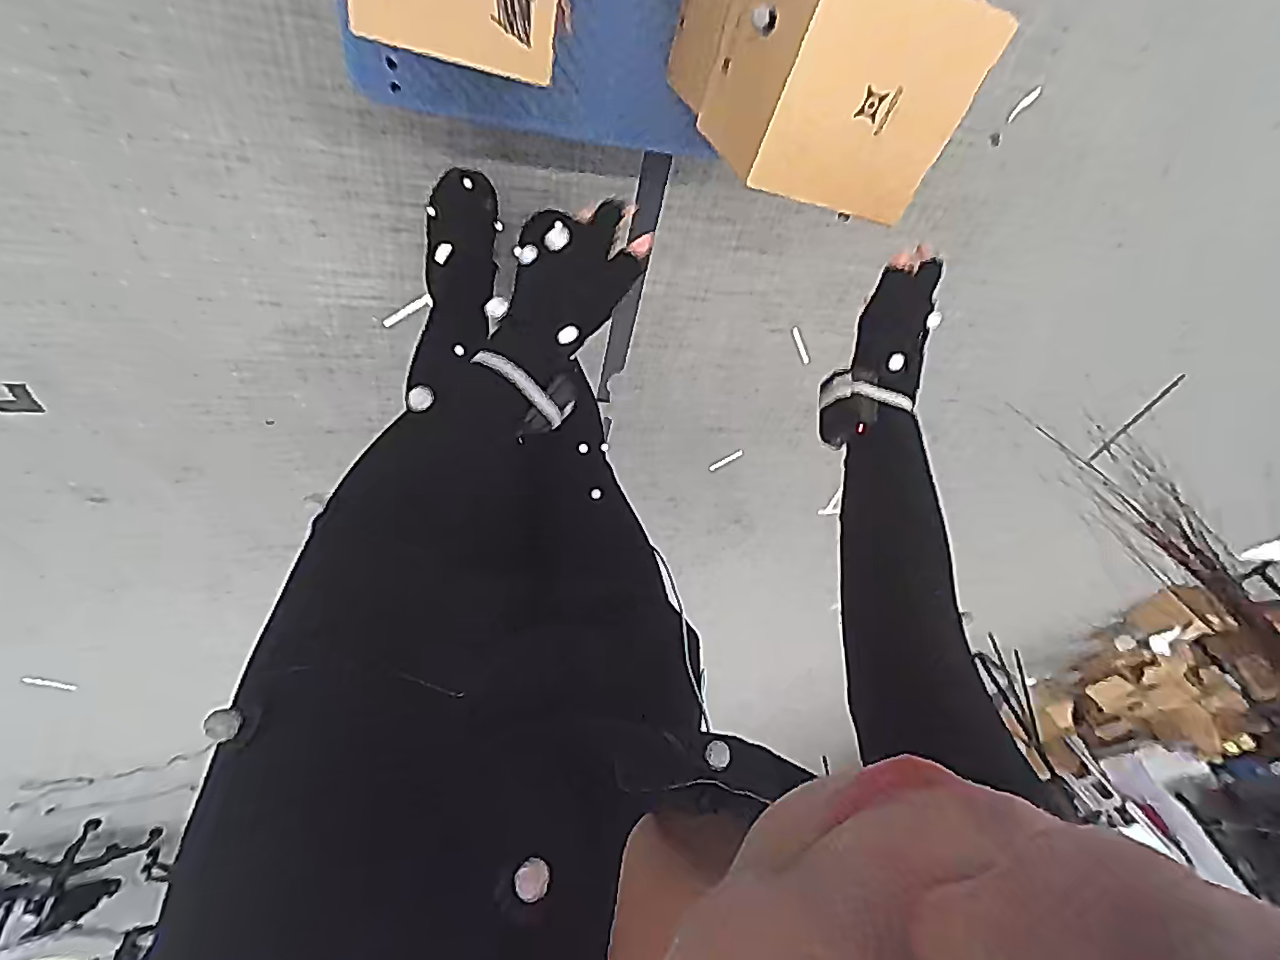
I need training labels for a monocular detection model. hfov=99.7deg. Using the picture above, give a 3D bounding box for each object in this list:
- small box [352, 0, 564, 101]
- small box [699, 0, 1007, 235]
[{"bbox_3d":[-0.165,-0.491,0.503,0.179,0.176,0.168,2,136,-19],"label":"small box"},{"bbox_3d":[0.176,-0.362,0.509,0.179,0.176,0.168,2,136,-22],"label":"small box"}]
